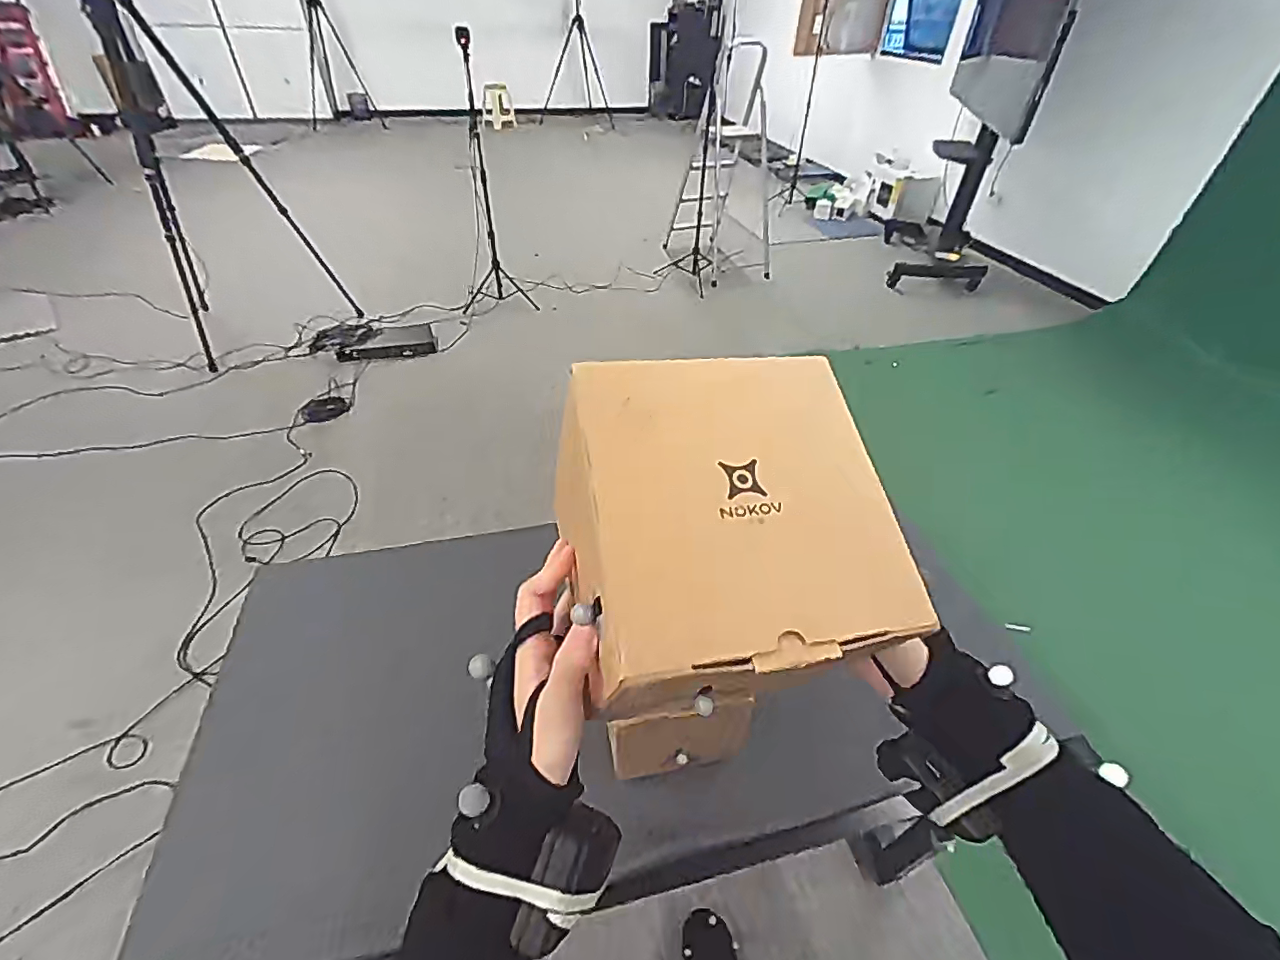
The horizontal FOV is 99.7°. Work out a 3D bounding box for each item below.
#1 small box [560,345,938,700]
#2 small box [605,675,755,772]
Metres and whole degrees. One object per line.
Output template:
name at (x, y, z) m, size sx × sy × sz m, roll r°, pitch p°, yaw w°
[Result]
small box at (0.043, 0.032, 0.359) m, size 0.168 × 0.176 × 0.179 m, roll -5°, pitch 63°, yaw -15°
small box at (0.036, 0.261, 0.731) m, size 0.168 × 0.176 × 0.179 m, roll -8°, pitch 43°, yaw -10°
